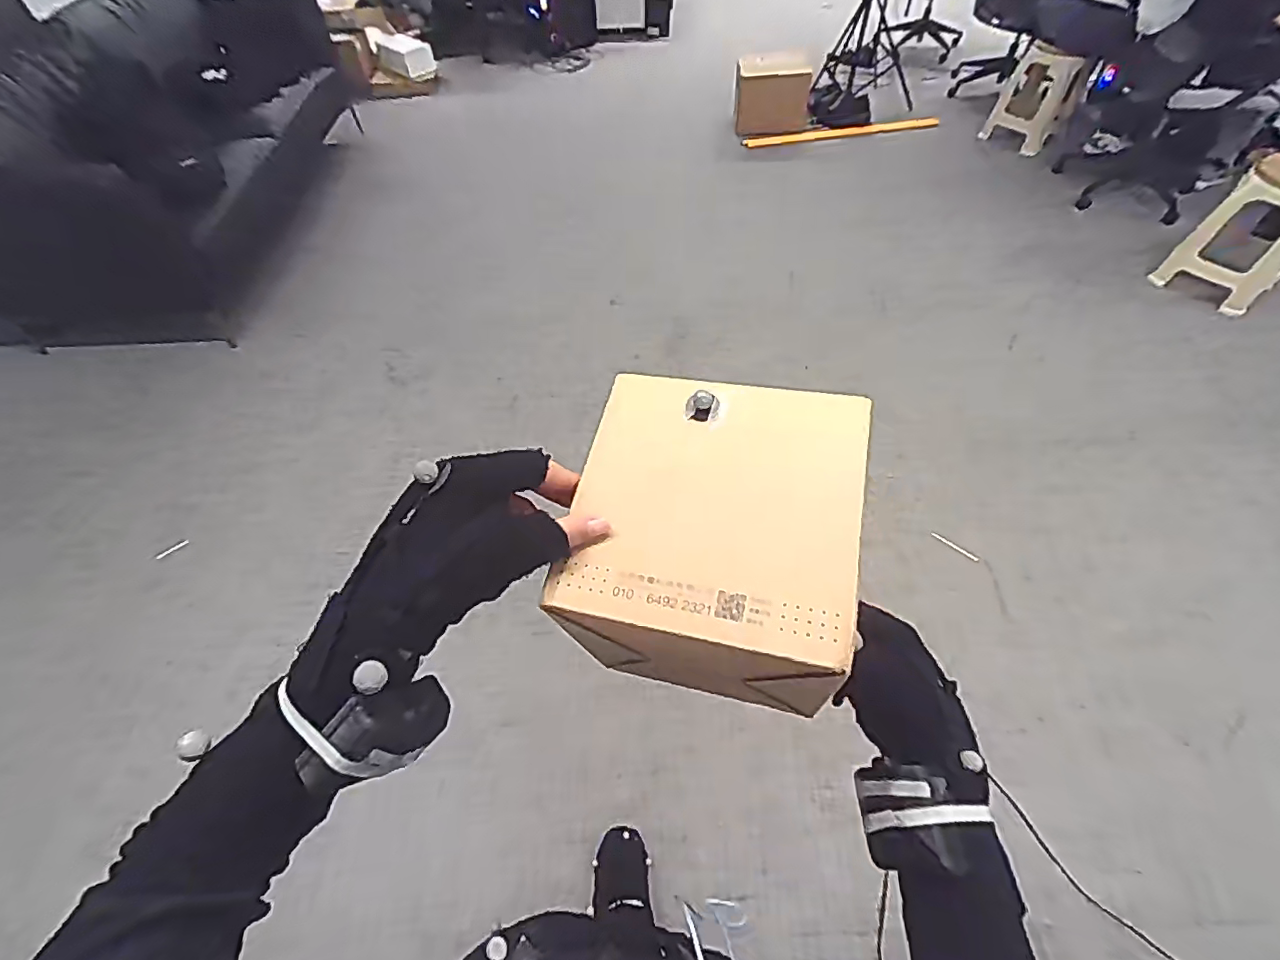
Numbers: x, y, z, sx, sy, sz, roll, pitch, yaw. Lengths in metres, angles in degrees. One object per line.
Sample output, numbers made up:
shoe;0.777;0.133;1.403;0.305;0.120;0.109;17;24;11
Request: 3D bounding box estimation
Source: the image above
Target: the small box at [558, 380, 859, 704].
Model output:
small box;0.056;0.053;0.397;0.168;0.179;0.176;8;61;15
